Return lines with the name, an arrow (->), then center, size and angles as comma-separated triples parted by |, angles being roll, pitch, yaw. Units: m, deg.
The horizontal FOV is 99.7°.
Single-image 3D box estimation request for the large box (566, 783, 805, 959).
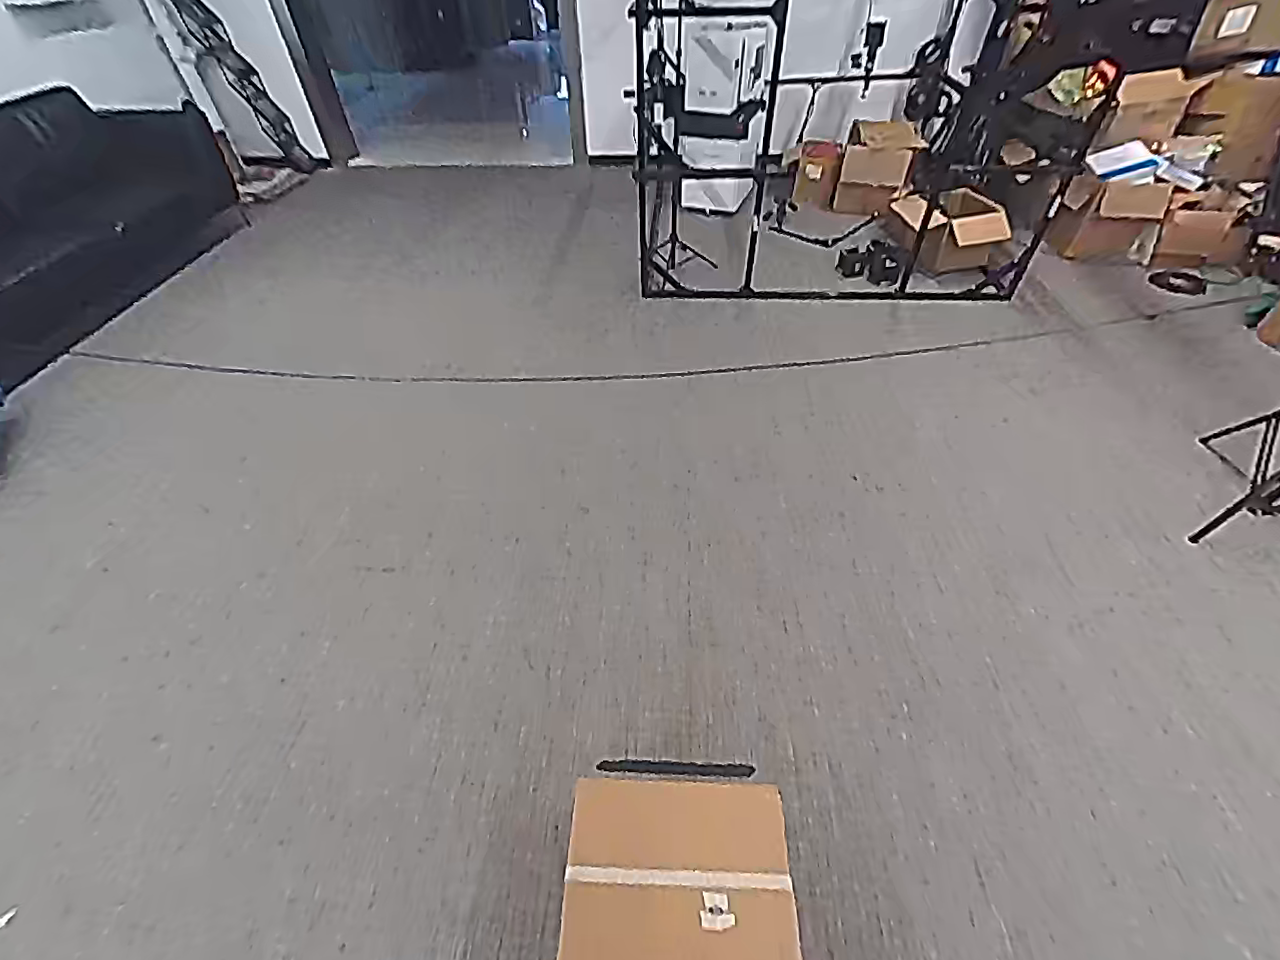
large box -> 0.079, 0.825, 1.076 | 0.408, 0.320, 0.320 | 1, 46, 2
